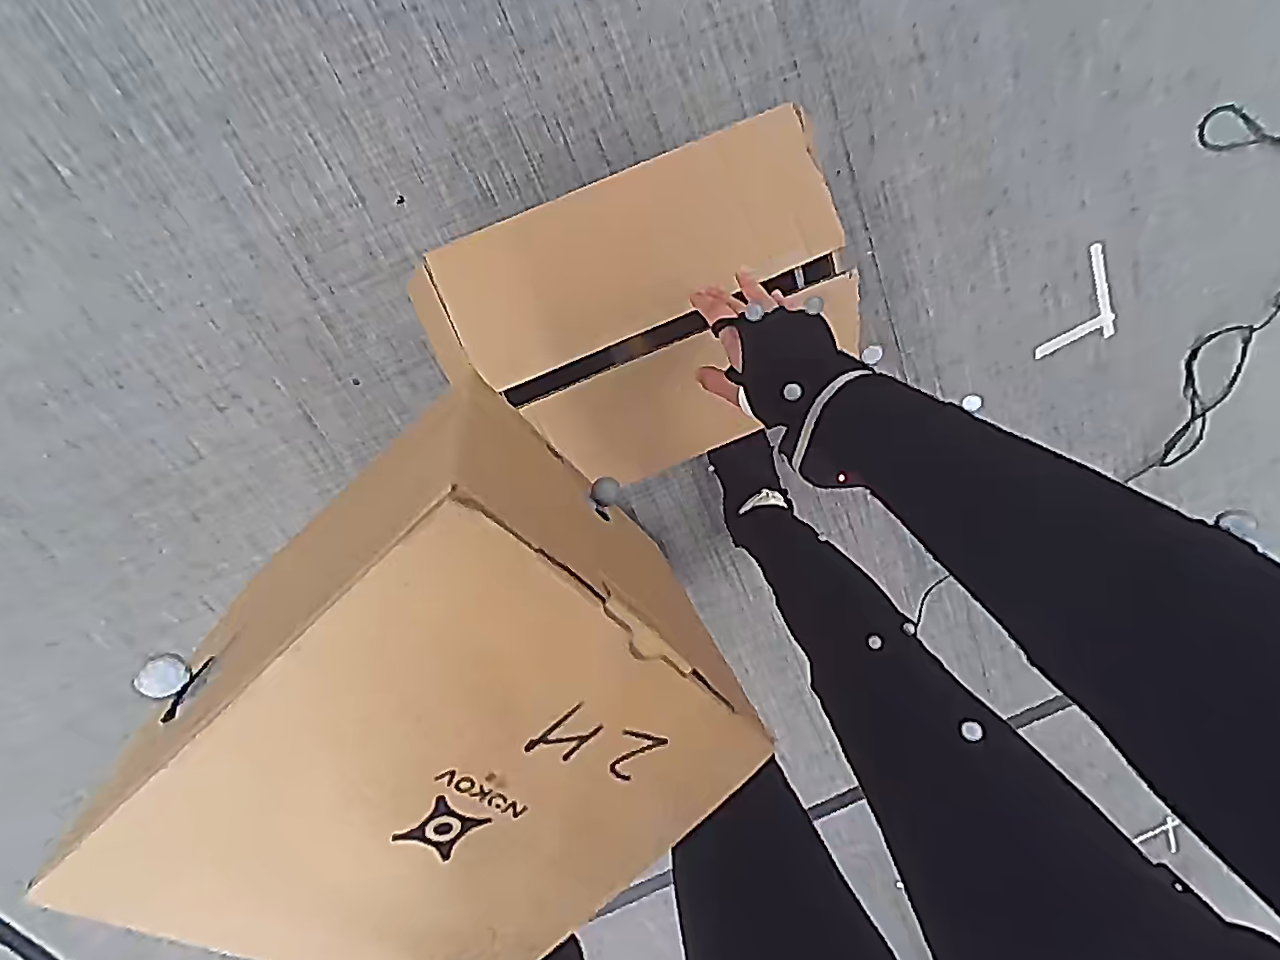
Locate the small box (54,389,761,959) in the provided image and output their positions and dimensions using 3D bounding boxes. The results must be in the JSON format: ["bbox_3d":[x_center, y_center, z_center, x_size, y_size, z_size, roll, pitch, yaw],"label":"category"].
[{"bbox_3d":[-0.082,0.083,0.261,0.179,0.176,0.168,-43,117,3],"label":"small box"}]
